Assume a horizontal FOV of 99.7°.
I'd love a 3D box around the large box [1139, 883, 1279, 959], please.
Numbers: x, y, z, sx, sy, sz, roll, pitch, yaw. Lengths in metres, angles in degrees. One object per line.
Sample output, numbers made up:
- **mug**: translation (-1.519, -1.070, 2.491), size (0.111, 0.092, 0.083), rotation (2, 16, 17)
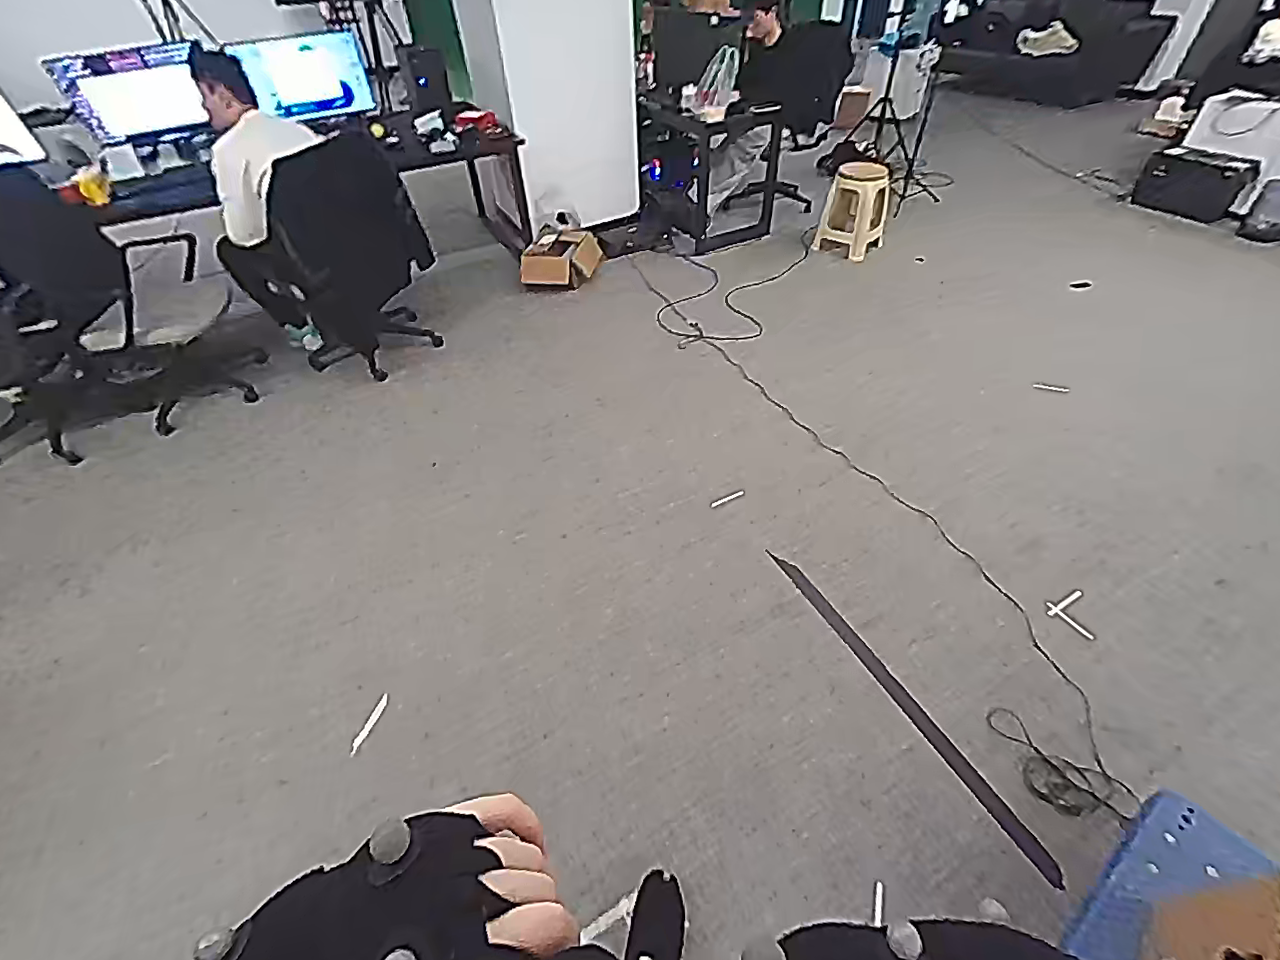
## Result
- **large box**: translation (0.982, 0.854, 0.718), size (0.408, 0.320, 0.320), rotation (31, 55, 29)
